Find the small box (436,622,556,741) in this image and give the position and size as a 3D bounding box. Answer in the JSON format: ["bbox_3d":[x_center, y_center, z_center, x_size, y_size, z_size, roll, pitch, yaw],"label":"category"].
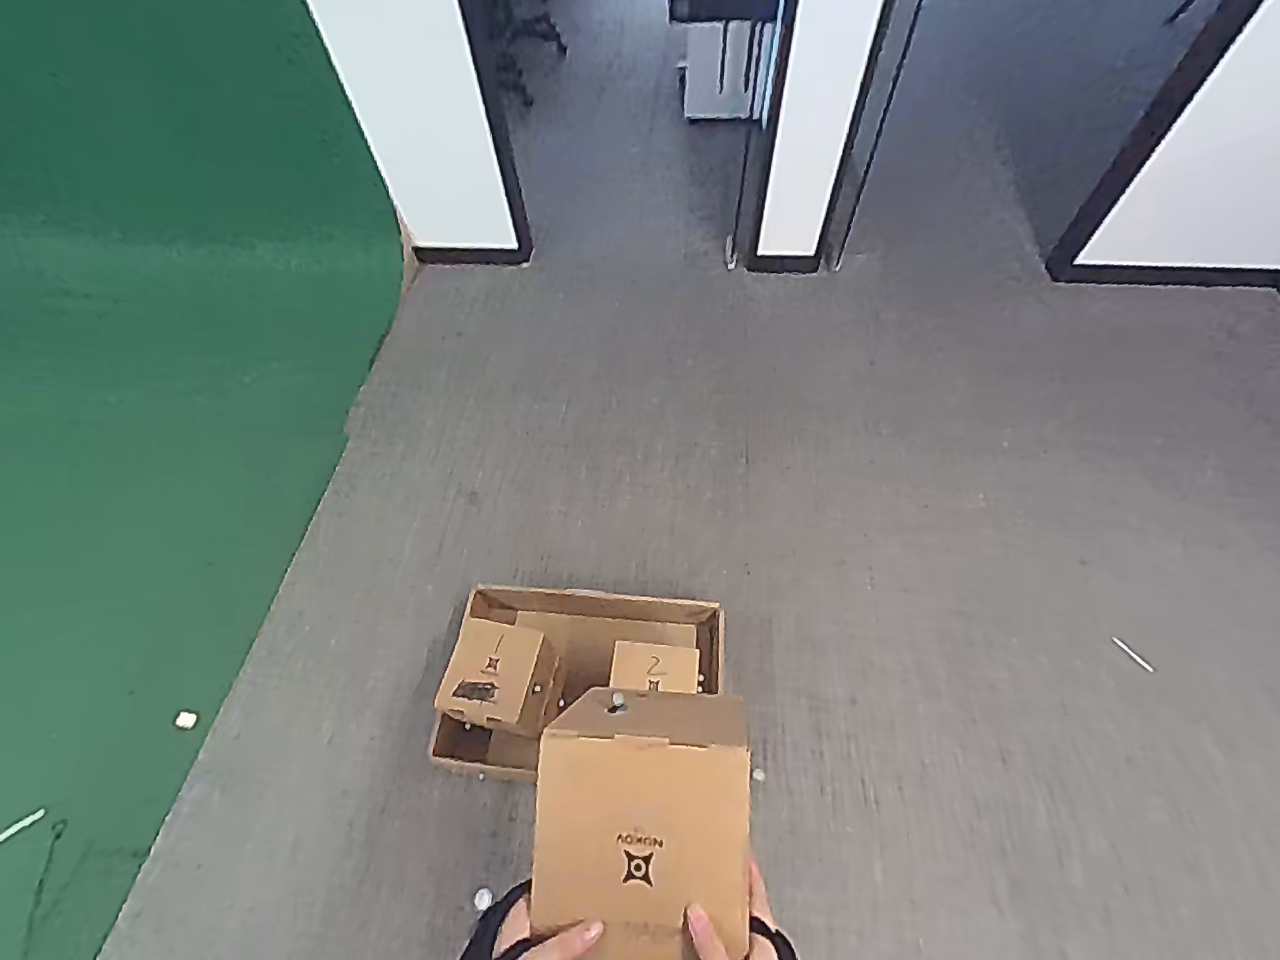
[{"bbox_3d":[-0.279,0.414,1.099,0.168,0.176,0.179,10,57,7],"label":"small box"}]

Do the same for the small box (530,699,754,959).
[{"bbox_3d":[0.014,0.307,0.488,0.168,0.176,0.179,1,80,10],"label":"small box"}]
